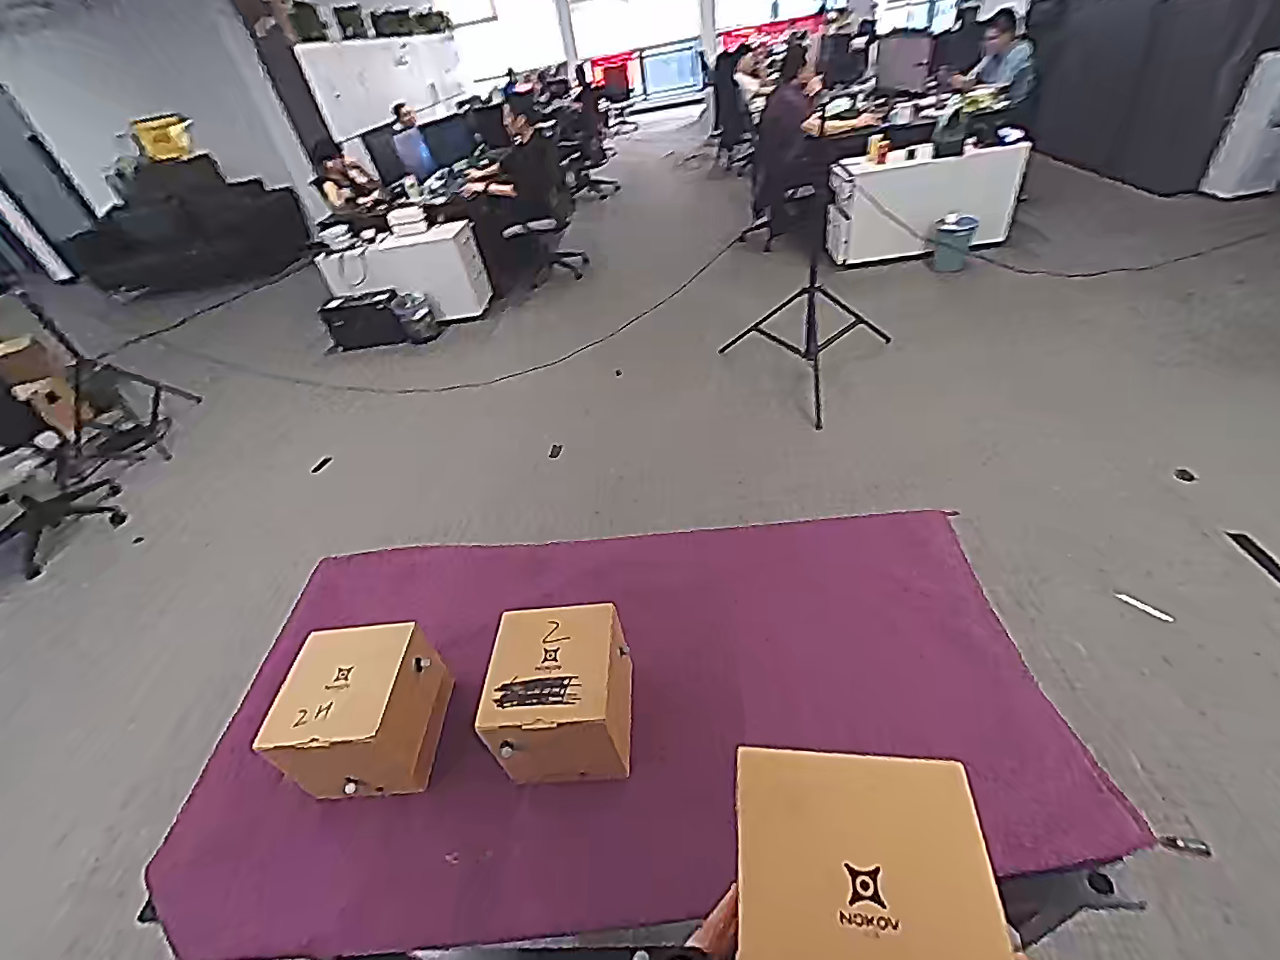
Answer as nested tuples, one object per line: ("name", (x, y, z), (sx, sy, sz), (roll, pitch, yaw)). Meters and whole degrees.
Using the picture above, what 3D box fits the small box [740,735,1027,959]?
("small box", (0.160, 0.318, 0.406), (0.168, 0.176, 0.179), (-1, 44, 10))

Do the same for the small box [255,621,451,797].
("small box", (-0.394, 0.331, 0.785), (0.168, 0.176, 0.179), (-6, 40, 4))
